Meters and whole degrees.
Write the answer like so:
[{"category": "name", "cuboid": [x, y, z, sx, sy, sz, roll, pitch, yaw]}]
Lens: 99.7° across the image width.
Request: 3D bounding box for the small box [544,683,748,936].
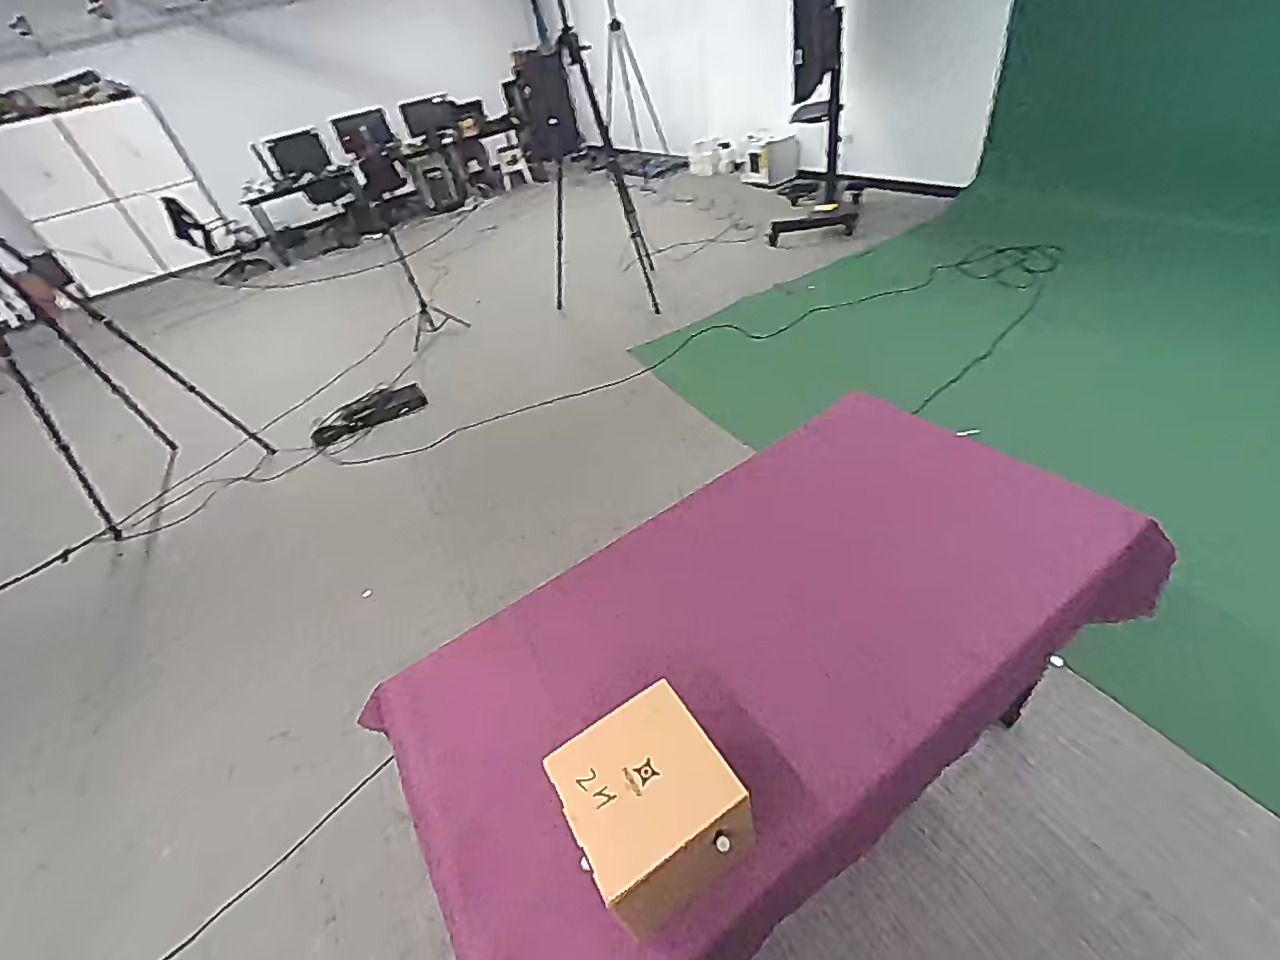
[{"category": "small box", "cuboid": [0.013, 0.390, 0.648, 0.179, 0.176, 0.168, -29, 41, -17]}]
